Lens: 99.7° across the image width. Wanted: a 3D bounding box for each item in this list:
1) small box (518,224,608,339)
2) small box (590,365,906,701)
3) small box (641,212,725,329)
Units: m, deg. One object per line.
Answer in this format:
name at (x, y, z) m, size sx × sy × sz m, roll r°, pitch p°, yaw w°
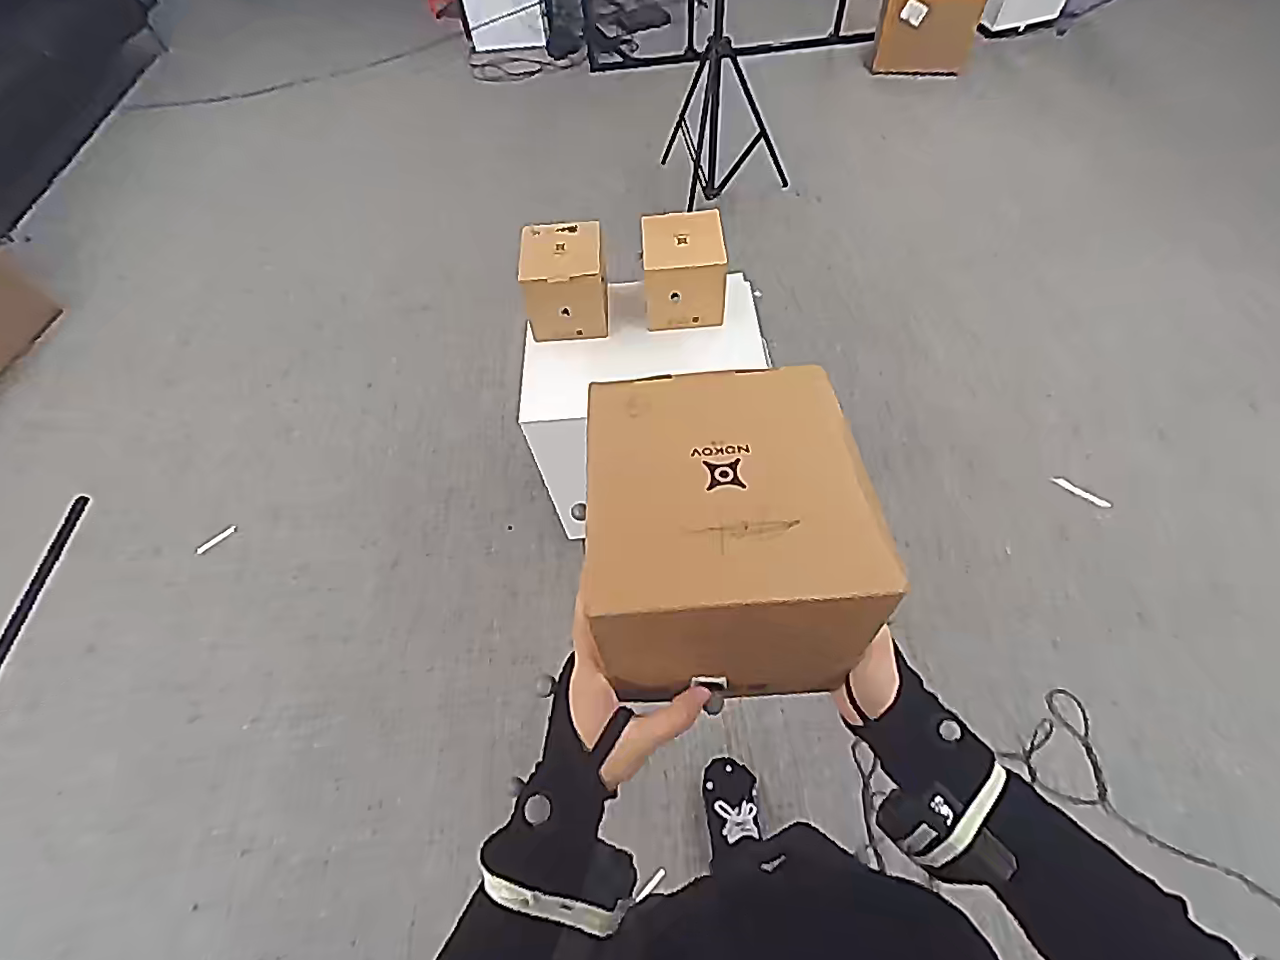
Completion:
small box at (-0.158, -0.422, 1.174) m, size 0.168 × 0.176 × 0.179 m, roll -4°, pitch 60°, yaw 1°
small box at (0.056, 0.042, 0.391) m, size 0.168 × 0.176 × 0.179 m, roll -5°, pitch 53°, yaw 1°
small box at (0.092, -0.443, 1.169) m, size 0.168 × 0.176 × 0.179 m, roll -4°, pitch 59°, yaw 2°
